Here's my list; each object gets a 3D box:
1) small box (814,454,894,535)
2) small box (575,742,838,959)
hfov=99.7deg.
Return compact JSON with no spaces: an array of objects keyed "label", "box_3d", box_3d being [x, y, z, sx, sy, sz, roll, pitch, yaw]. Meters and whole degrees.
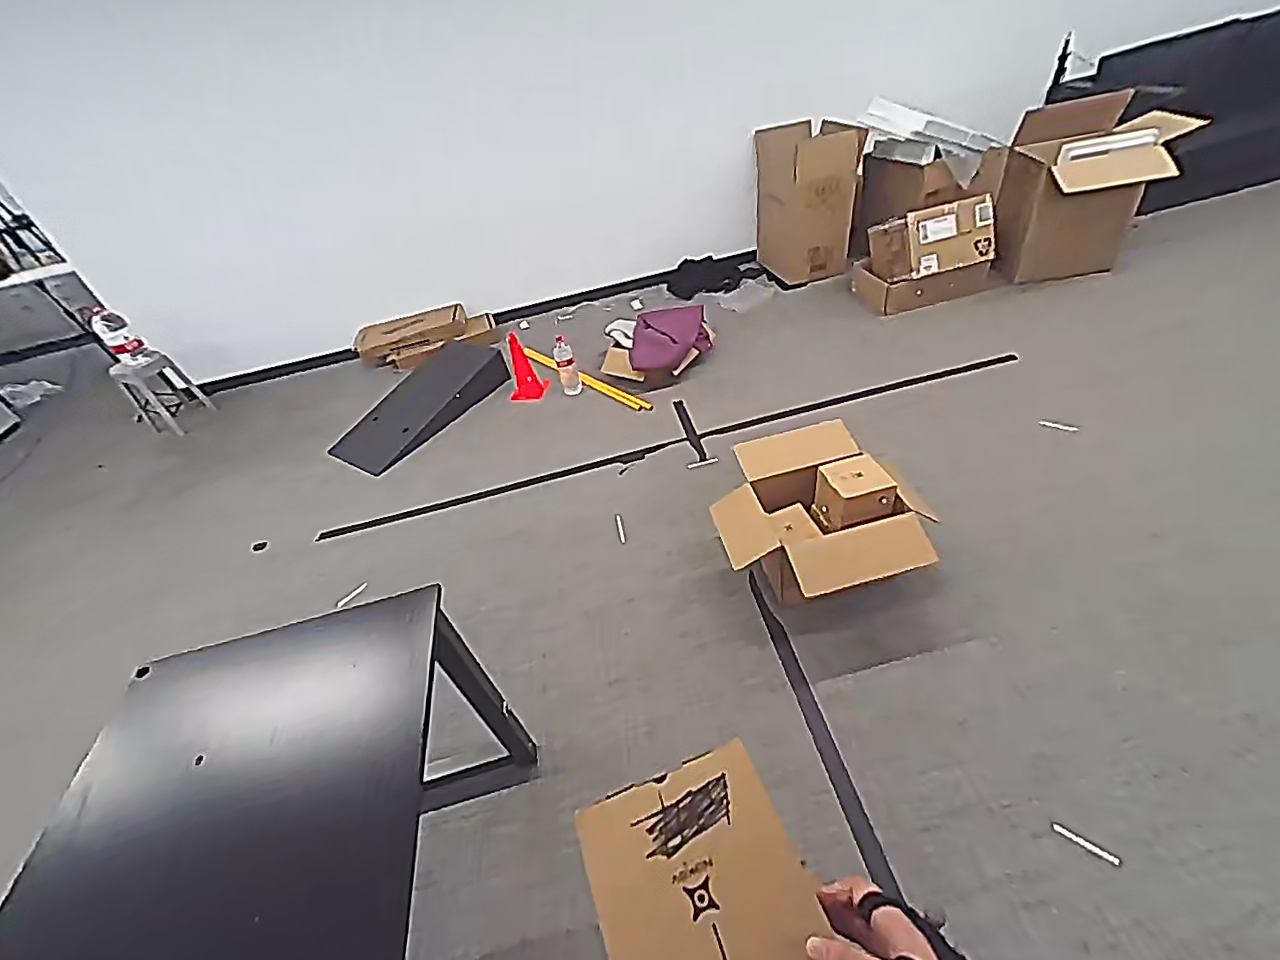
[{"label":"small box","box_3d":[0.671,0.048,1.717,0.179,0.176,0.168,-15,40,-5]},{"label":"small box","box_3d":[0.054,0.380,0.493,0.168,0.176,0.179,-20,48,-8]}]
